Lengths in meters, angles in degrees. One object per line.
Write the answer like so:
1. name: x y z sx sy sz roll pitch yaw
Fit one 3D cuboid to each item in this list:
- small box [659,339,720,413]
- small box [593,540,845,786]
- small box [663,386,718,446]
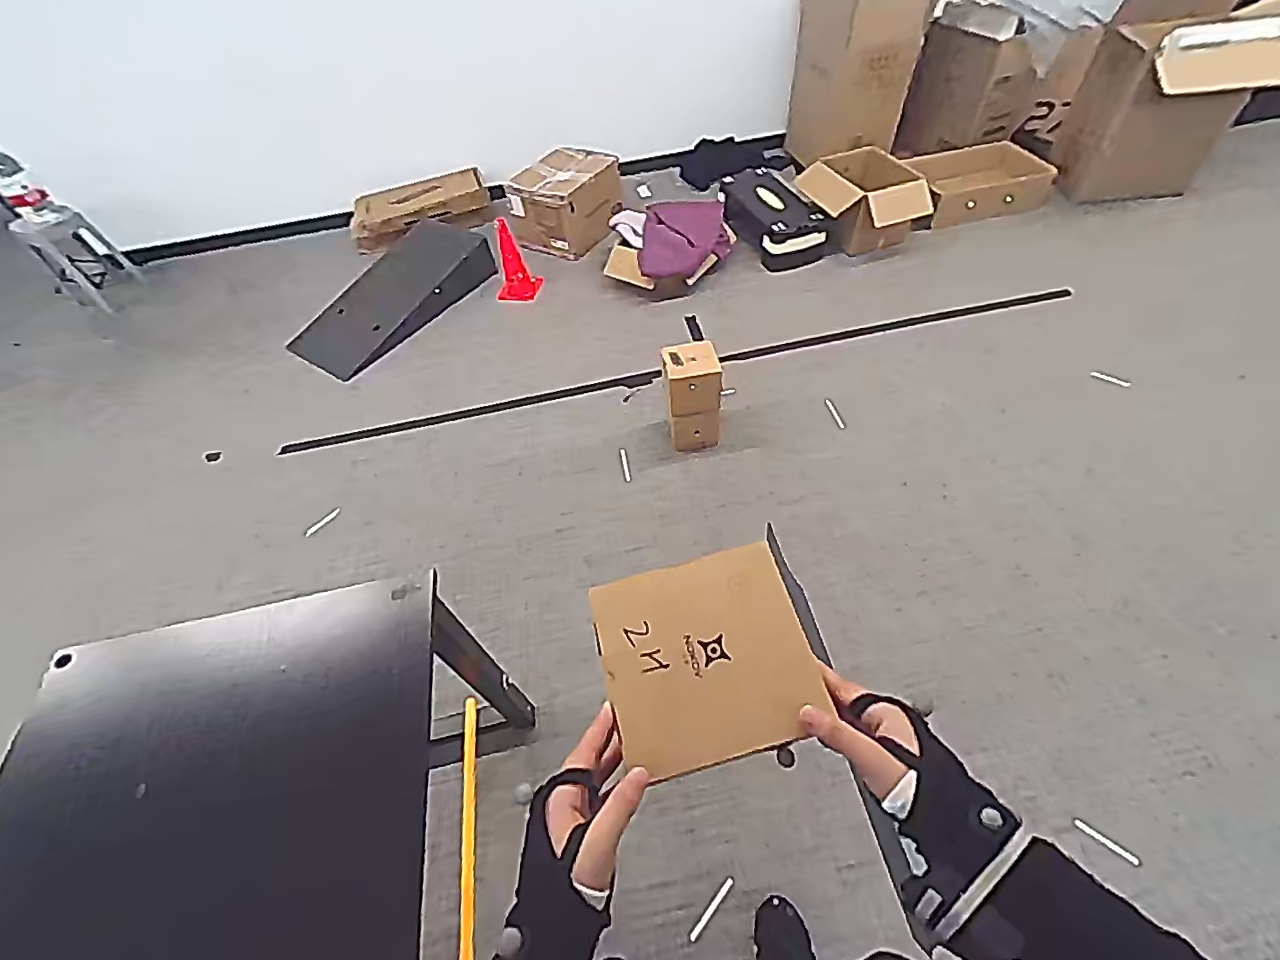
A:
1. small box: 0.168 -0.345 1.818 0.179 0.176 0.168 -10 51 -1
2. small box: 0.065 0.180 0.522 0.179 0.176 0.168 -15 61 -2
3. small box: 0.183 -0.238 1.944 0.168 0.176 0.179 -10 52 -1
